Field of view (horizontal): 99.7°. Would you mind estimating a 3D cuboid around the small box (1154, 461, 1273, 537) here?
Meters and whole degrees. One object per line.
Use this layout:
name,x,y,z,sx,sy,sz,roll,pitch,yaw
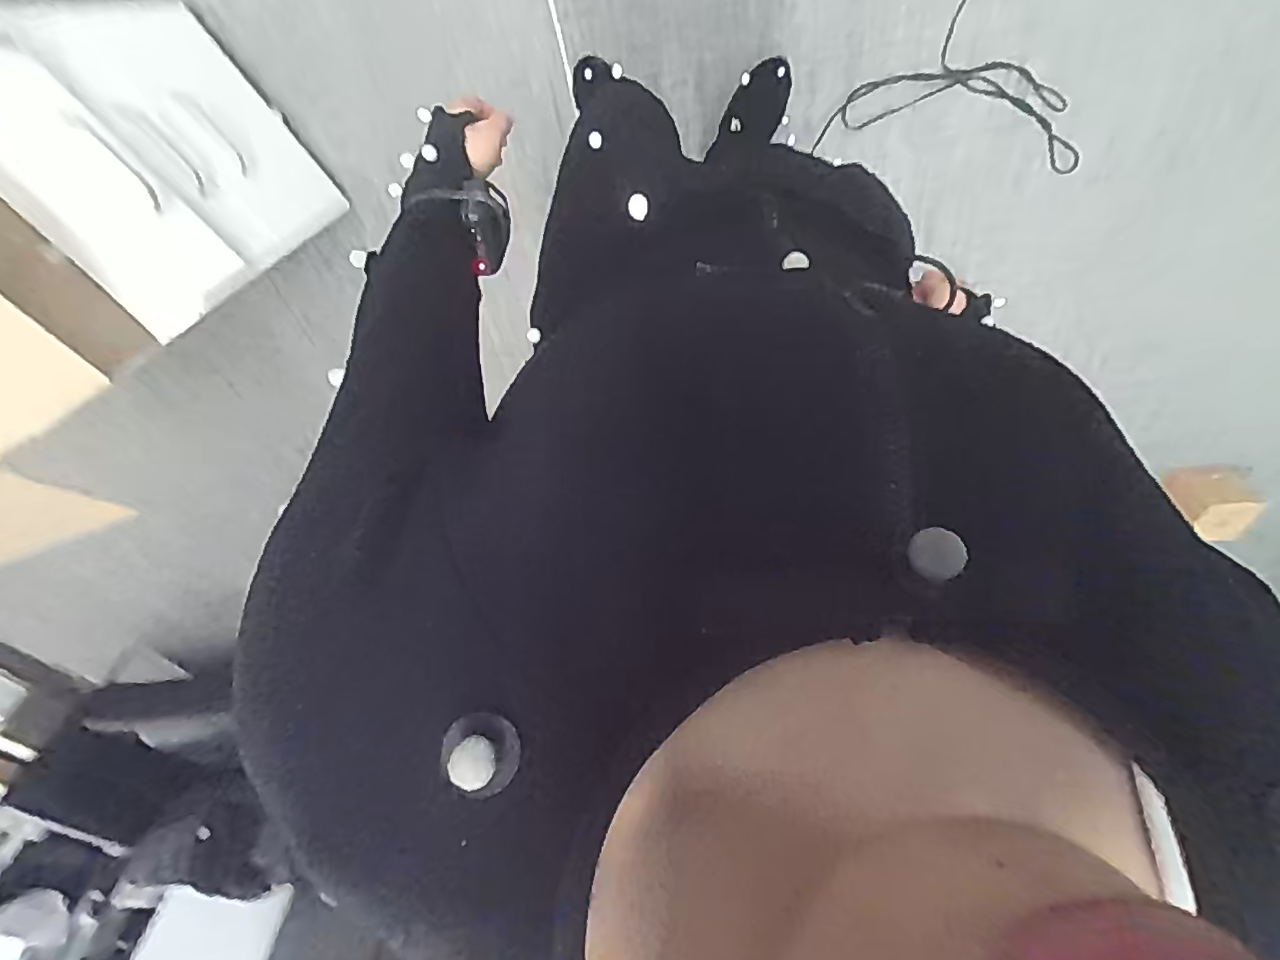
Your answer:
small box,1.806,0.061,1.720,0.168,0.176,0.179,-3,132,5
